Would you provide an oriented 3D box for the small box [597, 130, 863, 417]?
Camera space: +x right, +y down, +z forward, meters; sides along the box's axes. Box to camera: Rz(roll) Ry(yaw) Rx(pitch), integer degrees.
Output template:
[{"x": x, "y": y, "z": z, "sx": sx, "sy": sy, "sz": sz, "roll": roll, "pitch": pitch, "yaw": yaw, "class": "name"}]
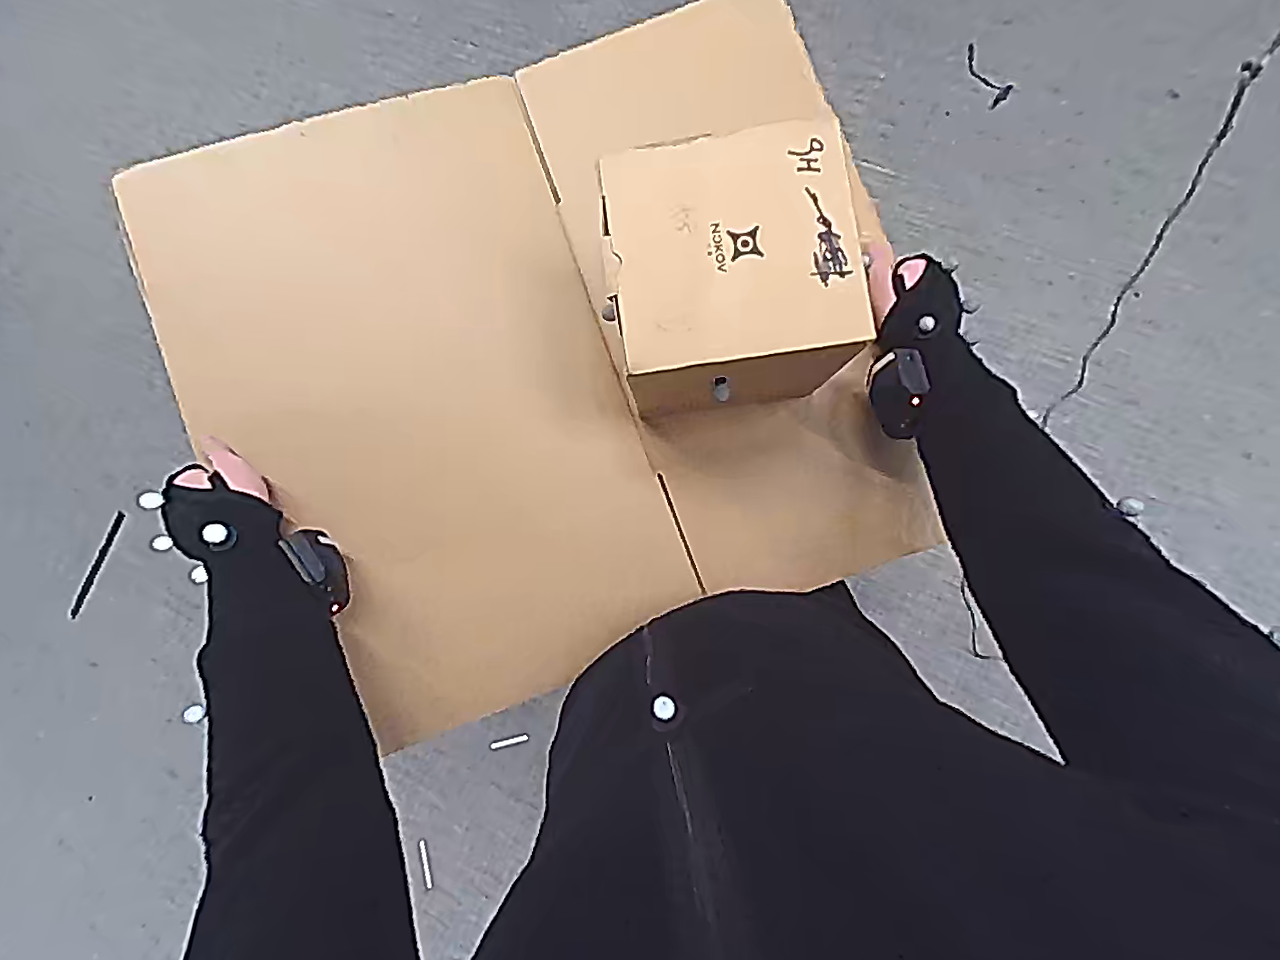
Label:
[{"x": 0.070, "y": -0.158, "z": 0.474, "sx": 0.179, "sy": 0.176, "sz": 0.168, "roll": -8, "pitch": 86, "yaw": 3, "class": "small box"}]
